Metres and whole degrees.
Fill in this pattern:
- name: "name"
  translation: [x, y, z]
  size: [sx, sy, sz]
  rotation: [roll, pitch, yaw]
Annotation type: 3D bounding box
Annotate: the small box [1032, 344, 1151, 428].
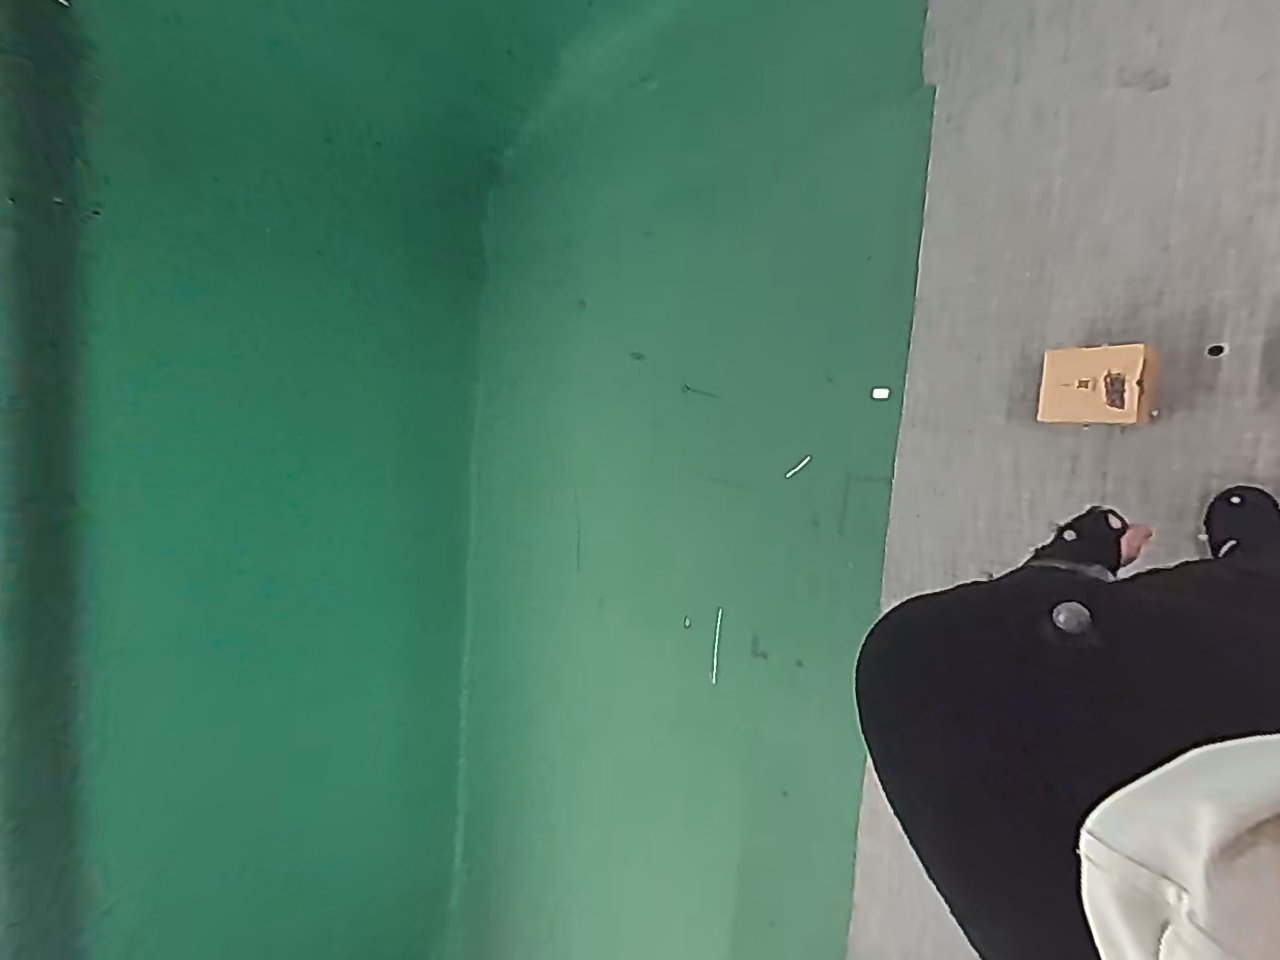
- name: "small box"
  translation: [1.029, -0.208, 1.230]
  size: [0.179, 0.176, 0.168]
  rotation: [9, 96, 50]
